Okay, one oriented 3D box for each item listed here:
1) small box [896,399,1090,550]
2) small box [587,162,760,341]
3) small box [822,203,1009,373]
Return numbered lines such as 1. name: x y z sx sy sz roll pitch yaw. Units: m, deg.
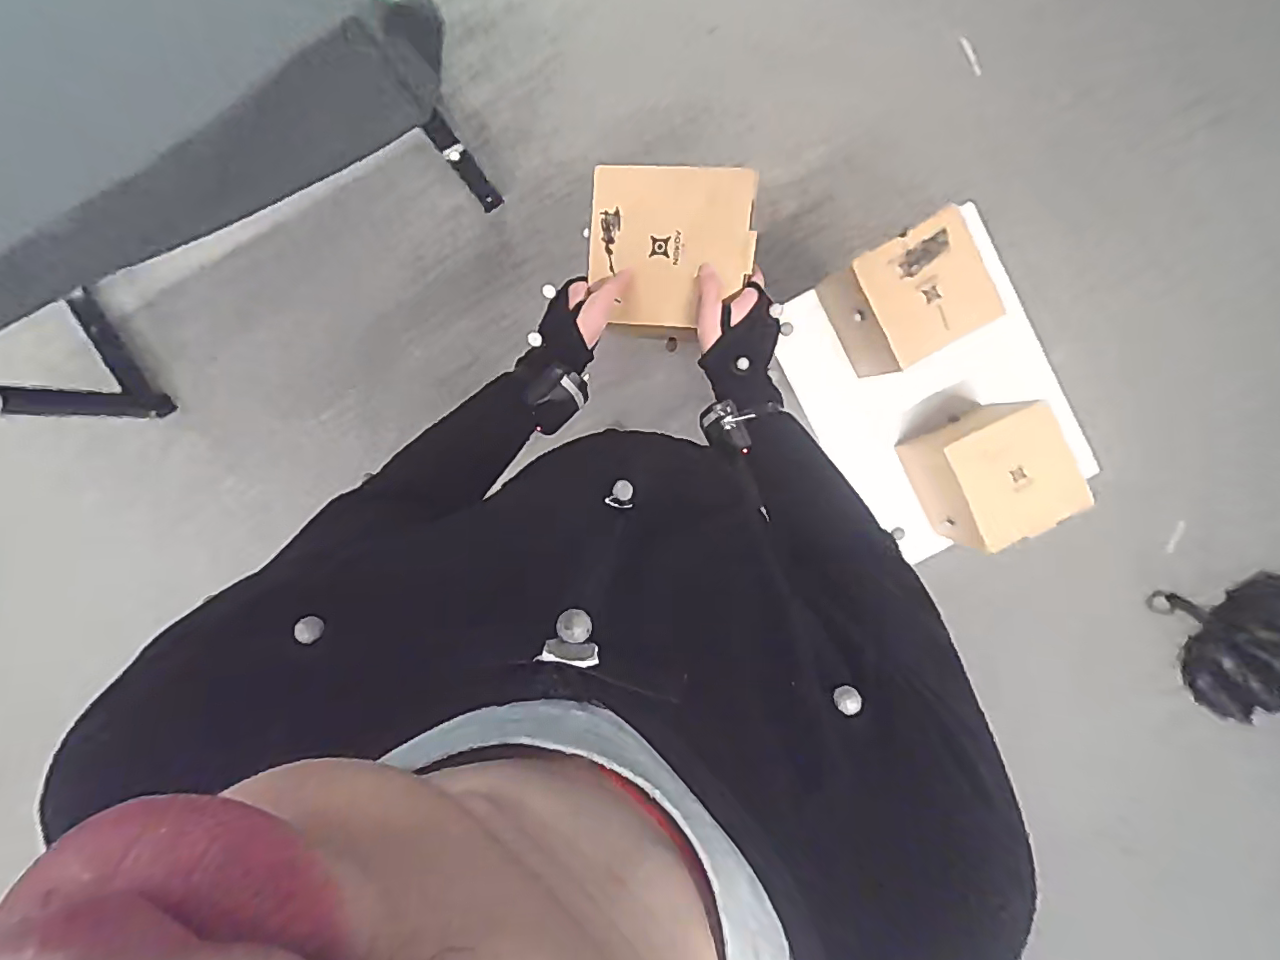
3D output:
1. small box: 0.546 -0.015 0.861 0.168 0.176 0.179 -26 94 3
2. small box: 0.041 -0.262 0.656 0.179 0.176 0.168 5 100 6
3. small box: 0.407 -0.279 0.831 0.168 0.176 0.179 -28 97 4
